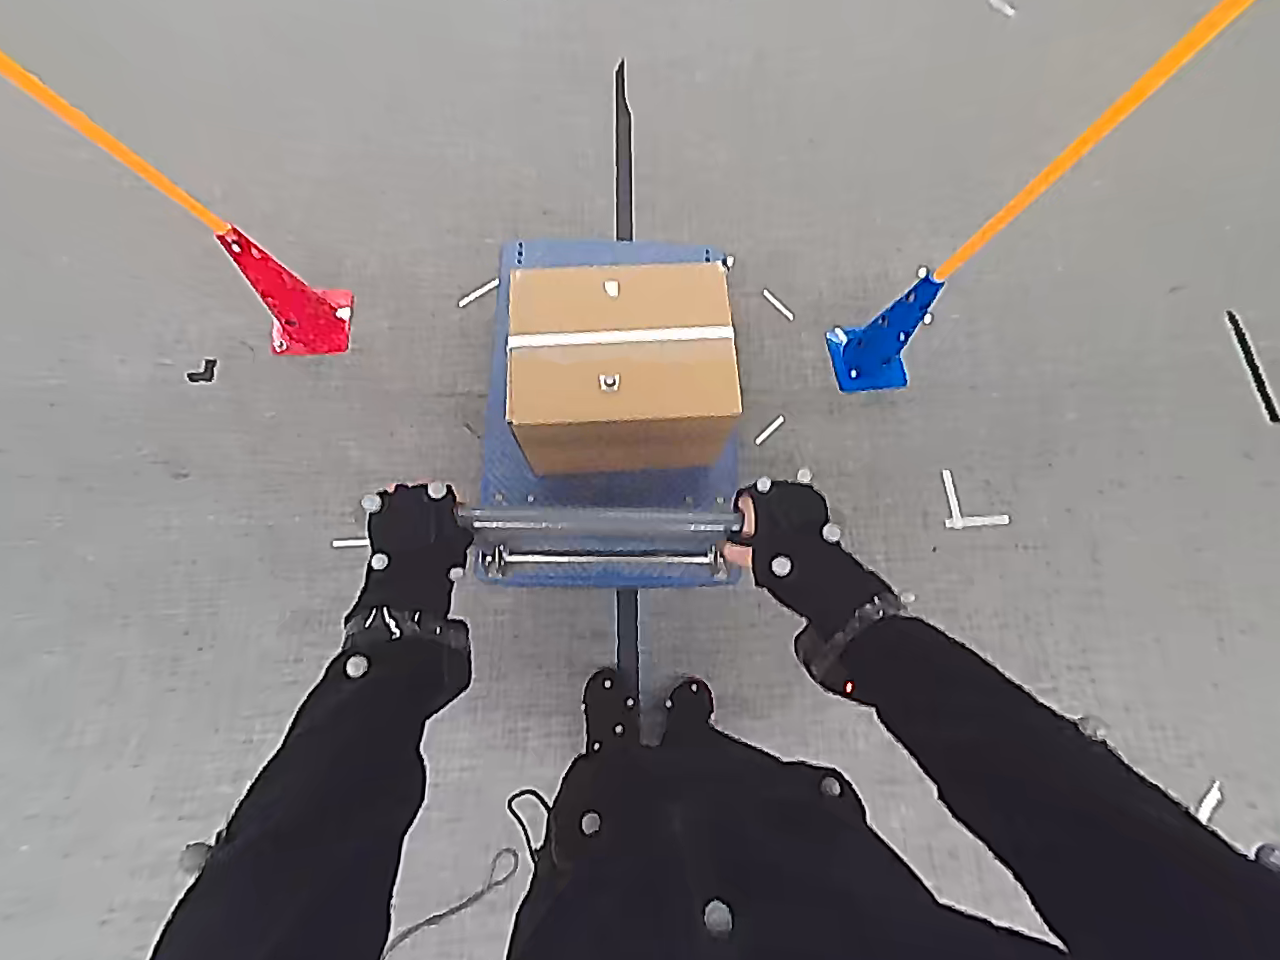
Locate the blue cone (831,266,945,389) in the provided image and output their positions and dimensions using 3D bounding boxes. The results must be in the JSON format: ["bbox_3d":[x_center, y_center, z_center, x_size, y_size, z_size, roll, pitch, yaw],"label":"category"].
[{"bbox_3d":[0.654,-0.395,1.371,0.193,0.380,0.192,-4,72,-4],"label":"blue cone"}]
